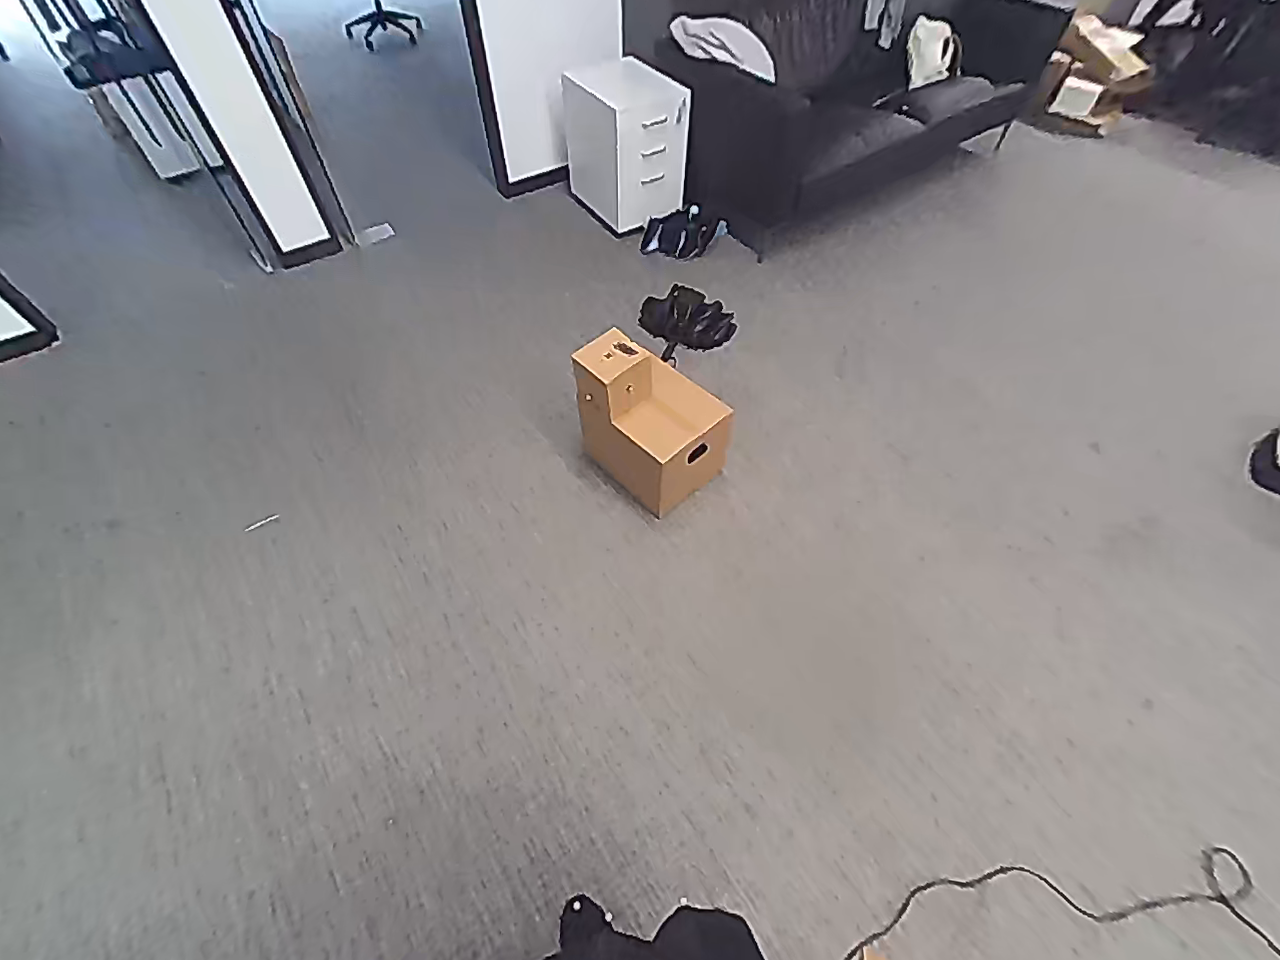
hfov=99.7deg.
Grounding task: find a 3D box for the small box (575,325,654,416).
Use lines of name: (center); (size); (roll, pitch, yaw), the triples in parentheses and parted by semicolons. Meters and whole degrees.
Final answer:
small box: (-0.075, -0.332, 1.653); (0.179, 0.176, 0.168); (-38, 62, -19)
